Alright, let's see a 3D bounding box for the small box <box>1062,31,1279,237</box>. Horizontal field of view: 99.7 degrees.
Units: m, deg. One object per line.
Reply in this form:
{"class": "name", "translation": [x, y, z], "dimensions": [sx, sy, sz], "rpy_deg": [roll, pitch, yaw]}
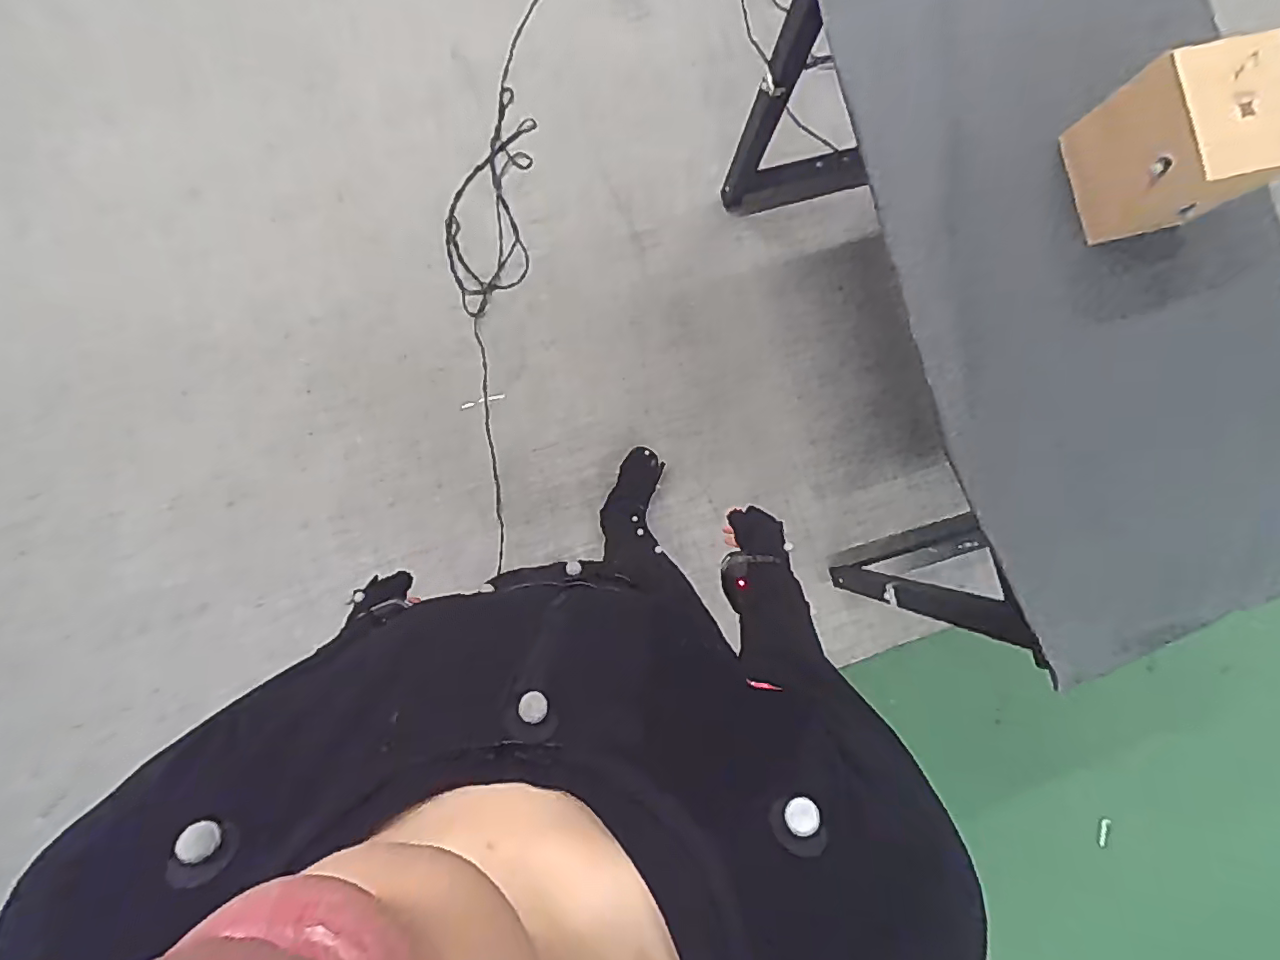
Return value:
{"class": "small box", "translation": [0.746, -0.463, 0.754], "dimensions": [0.168, 0.176, 0.179], "rpy_deg": [-14, 88, -5]}
